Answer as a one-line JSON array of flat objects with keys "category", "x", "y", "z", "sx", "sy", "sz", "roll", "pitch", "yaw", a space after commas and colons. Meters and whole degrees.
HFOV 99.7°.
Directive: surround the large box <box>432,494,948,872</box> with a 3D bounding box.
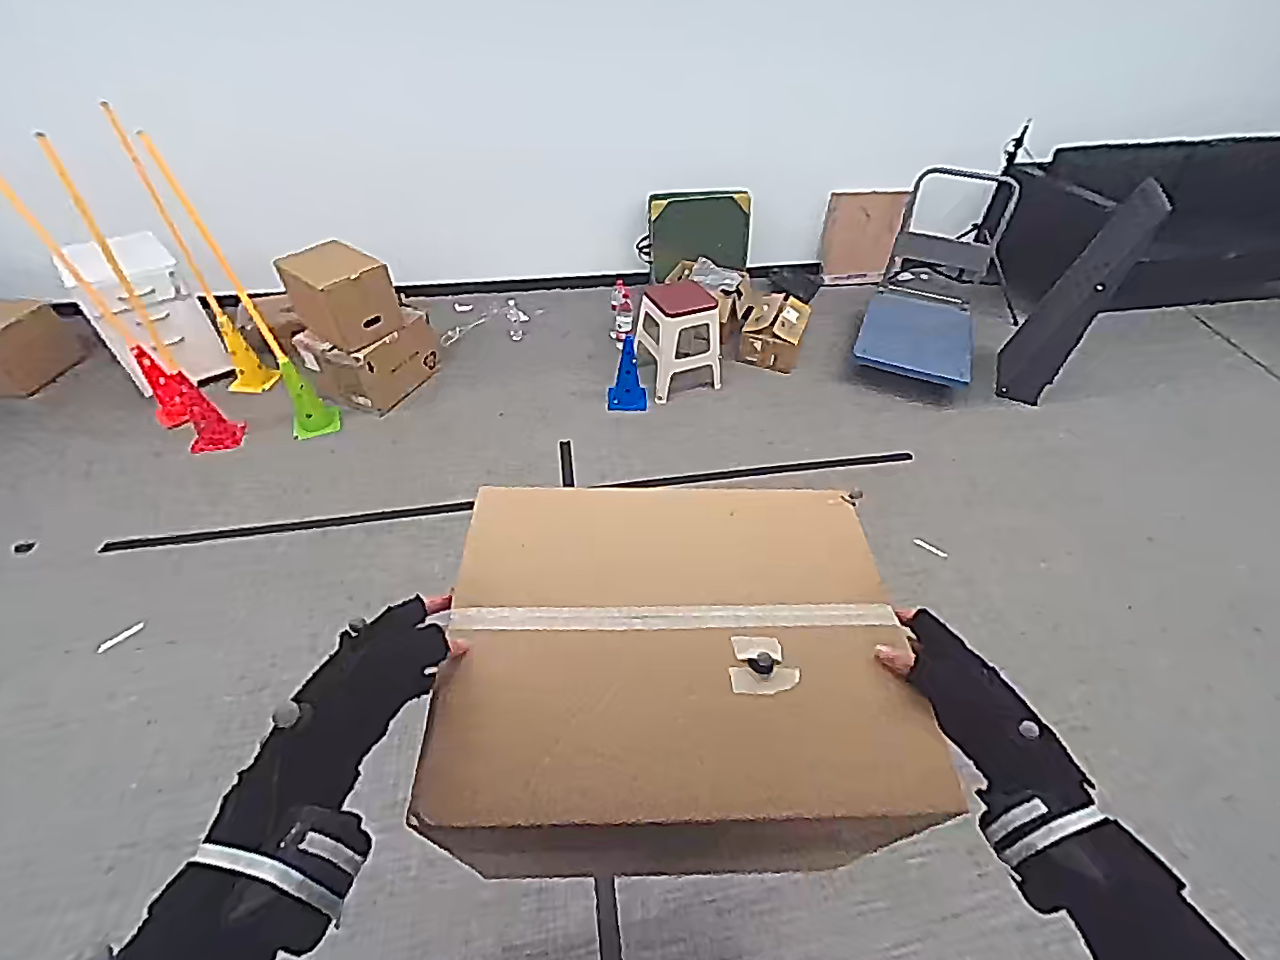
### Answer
[{"category": "large box", "x": 0.029, "y": 0.230, "z": 0.614, "sx": 0.408, "sy": 0.320, "sz": 0.320, "roll": 1, "pitch": 49, "yaw": -3}]
